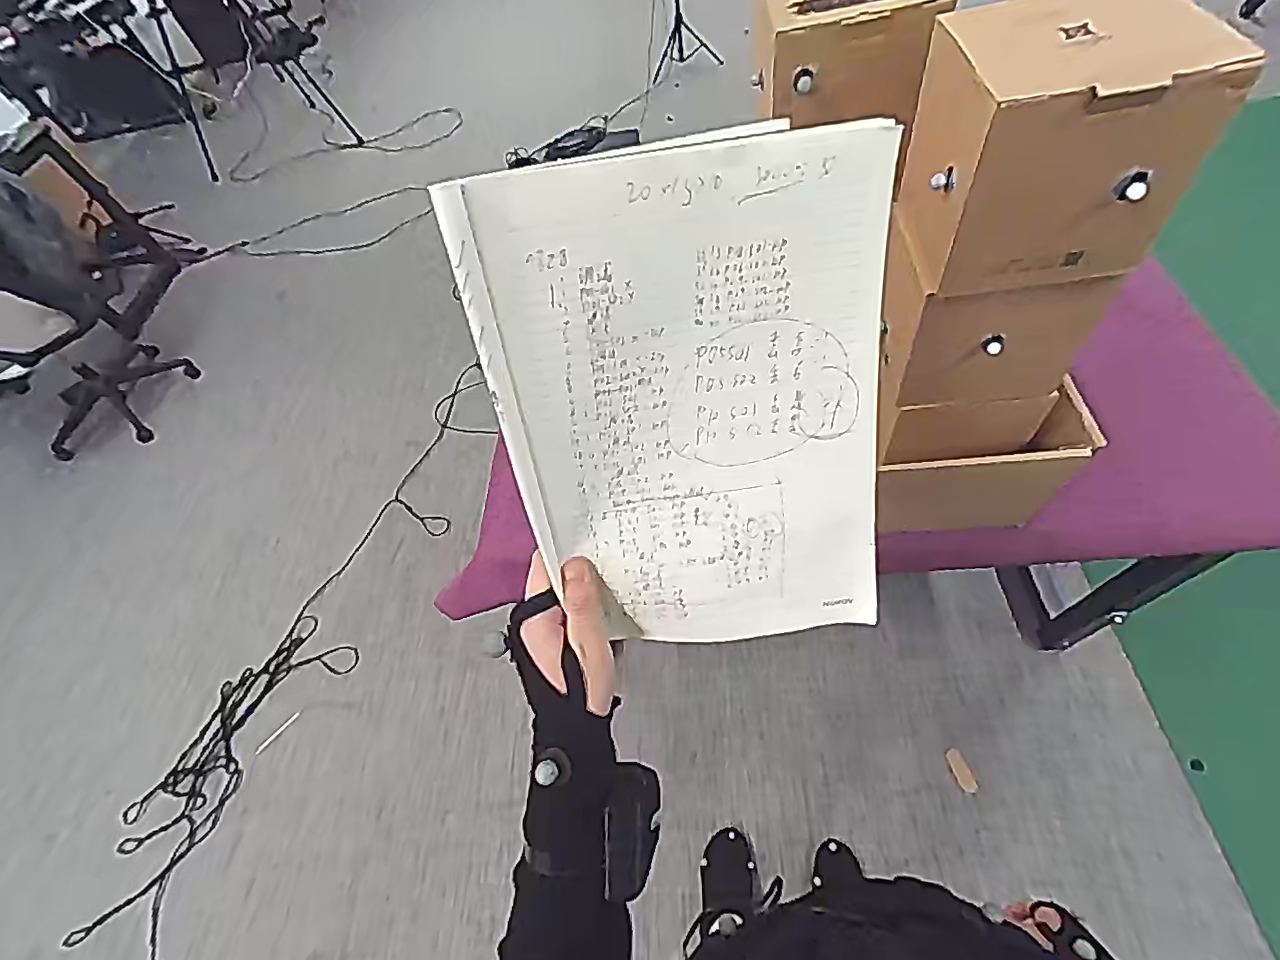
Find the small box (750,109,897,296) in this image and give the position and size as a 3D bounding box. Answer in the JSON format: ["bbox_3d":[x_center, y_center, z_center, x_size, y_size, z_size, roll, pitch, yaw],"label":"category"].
[{"bbox_3d":[0.245,-0.380,0.765,0.168,0.176,0.179,-4,58,9],"label":"small box"}]

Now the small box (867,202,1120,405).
[{"bbox_3d":[0.373,-0.204,0.614,0.179,0.176,0.168,-5,55,12],"label":"small box"}]

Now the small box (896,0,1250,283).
[{"bbox_3d":[0.344,-0.294,0.481,0.168,0.176,0.179,-4,55,11],"label":"small box"}]
